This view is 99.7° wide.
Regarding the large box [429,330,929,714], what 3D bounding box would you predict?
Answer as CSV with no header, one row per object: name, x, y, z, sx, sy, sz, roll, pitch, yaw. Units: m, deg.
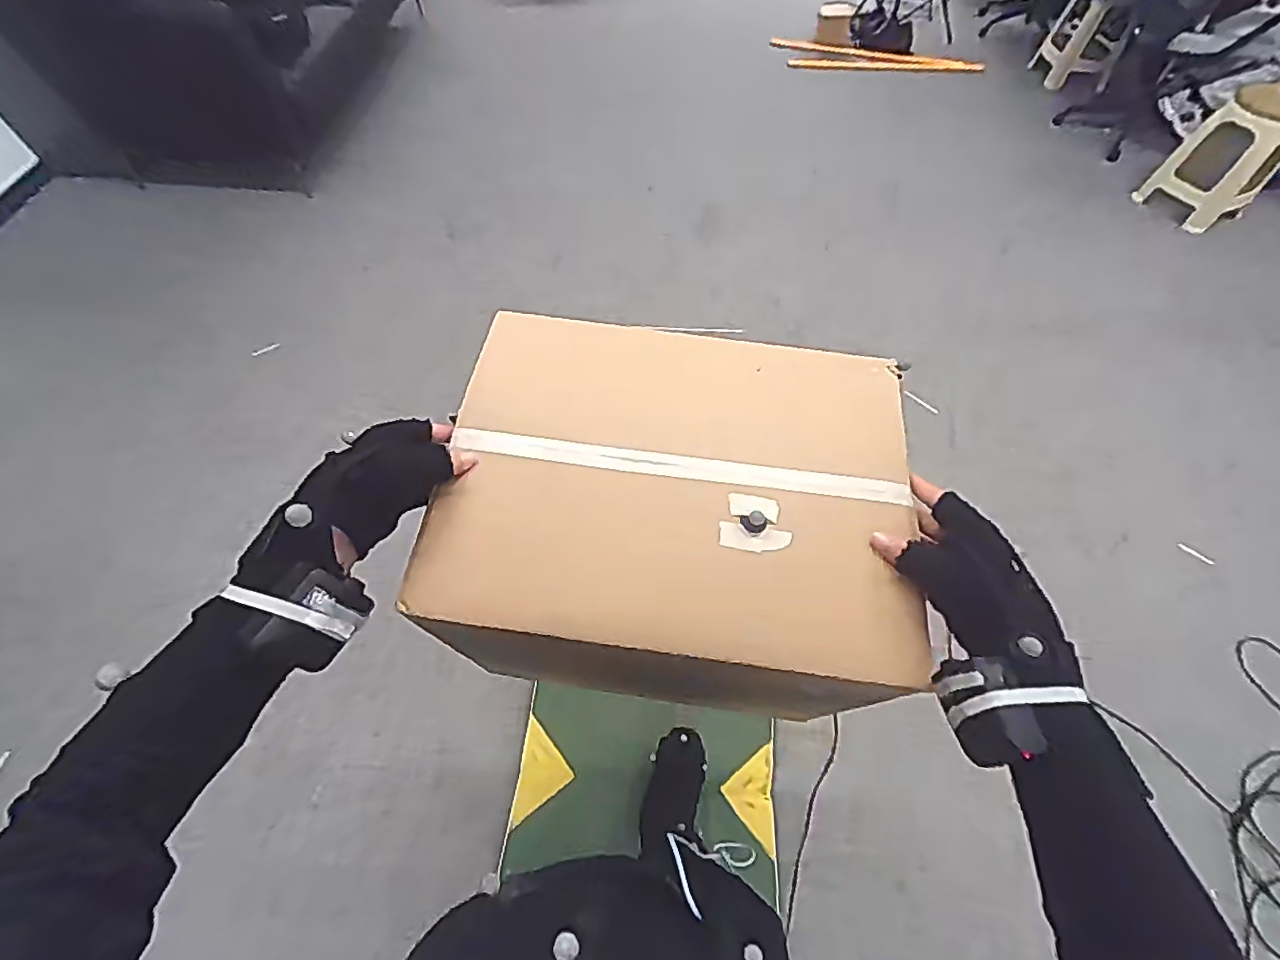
large box,0.038,0.067,0.622,0.408,0.320,0.320,8,62,1
